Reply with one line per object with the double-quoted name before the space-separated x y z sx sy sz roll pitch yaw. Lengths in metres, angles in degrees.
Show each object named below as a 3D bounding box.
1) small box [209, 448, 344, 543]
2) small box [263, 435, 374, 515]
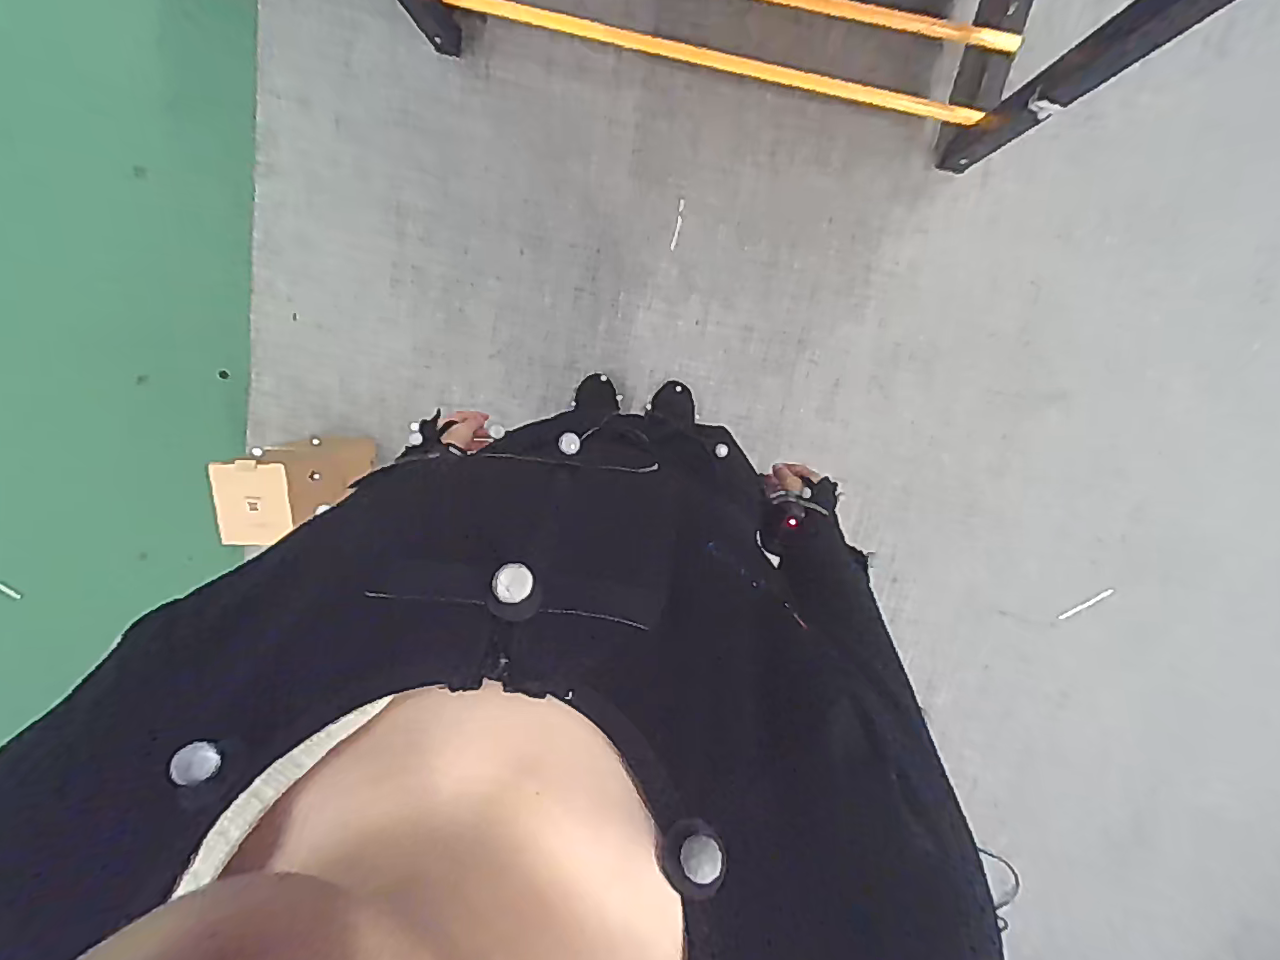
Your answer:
"small box" -0.777 0.027 1.174 0.168 0.176 0.179 0 104 5
"small box" -0.777 -0.017 1.330 0.179 0.176 0.168 3 103 3
